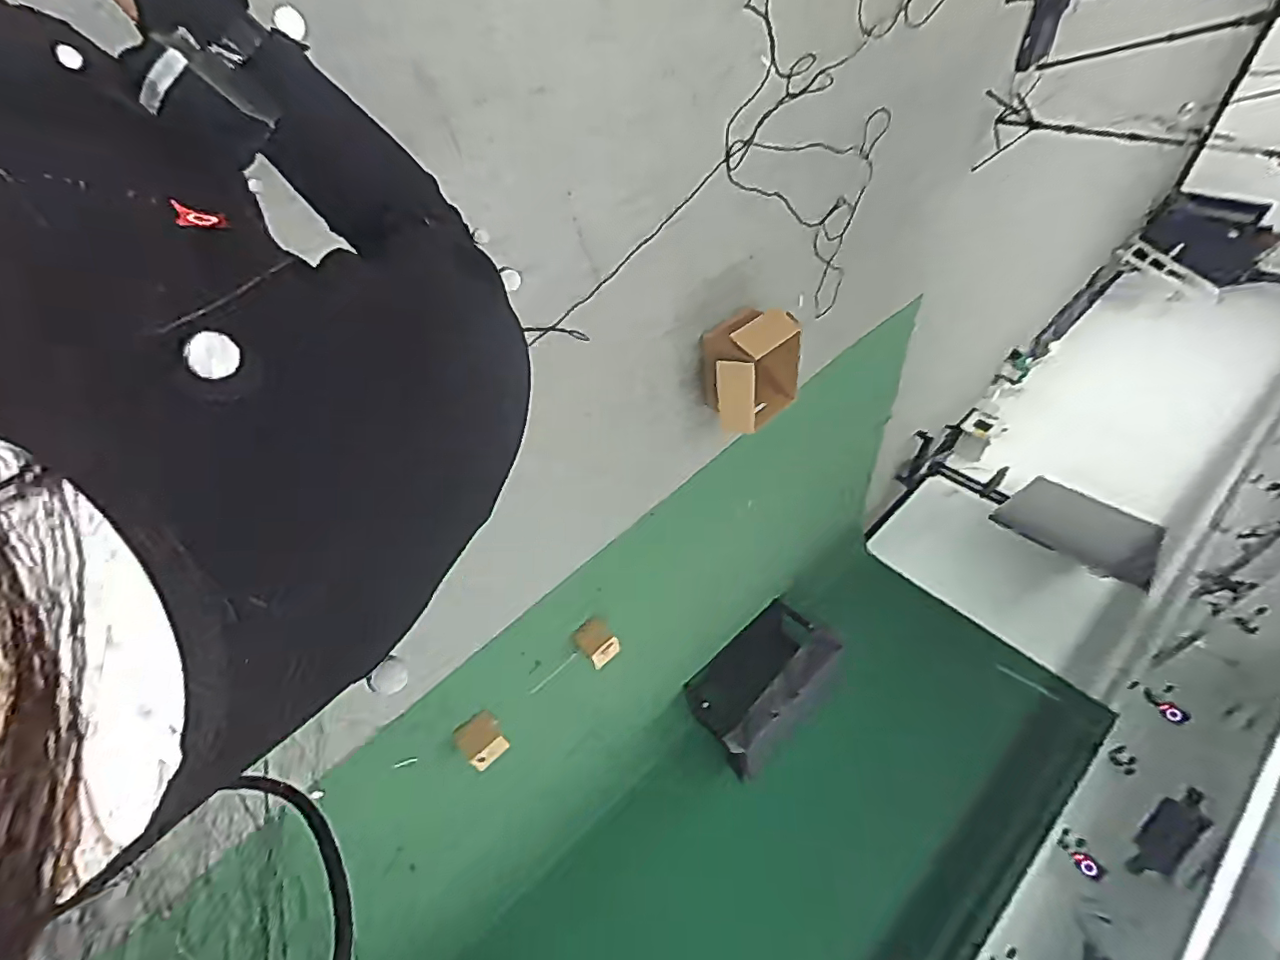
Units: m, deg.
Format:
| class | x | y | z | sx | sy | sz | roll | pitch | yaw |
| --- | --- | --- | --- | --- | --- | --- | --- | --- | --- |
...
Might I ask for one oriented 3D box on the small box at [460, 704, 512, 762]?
| class | x | y | z | sx | sy | sz | roll | pitch | yaw |
| --- | --- | --- | --- | --- | --- | --- | --- | --- | --- |
| small box | -0.778 | 1.265 | 2.707 | 0.179 | 0.176 | 0.168 | -37 | 144 | -21 |
